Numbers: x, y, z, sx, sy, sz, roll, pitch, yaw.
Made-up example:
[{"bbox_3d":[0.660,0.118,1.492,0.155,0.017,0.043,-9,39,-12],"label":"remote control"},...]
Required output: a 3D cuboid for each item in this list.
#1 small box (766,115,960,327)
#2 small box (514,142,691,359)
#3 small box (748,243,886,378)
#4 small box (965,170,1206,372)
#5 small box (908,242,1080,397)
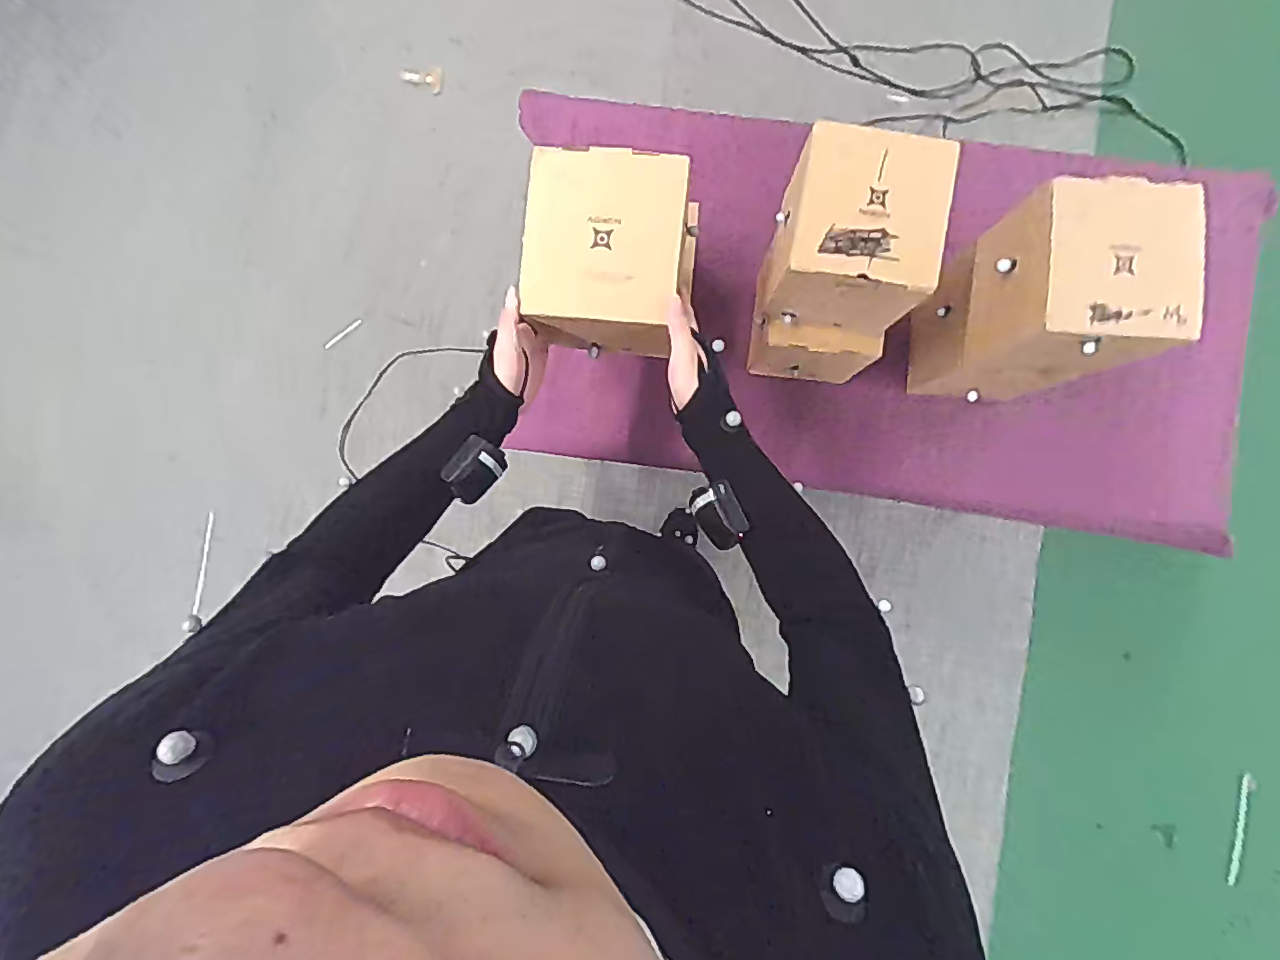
[{"bbox_3d":[0.263,-0.307,0.678,0.168,0.176,0.179,10,88,2],"label":"small box"},{"bbox_3d":[-0.035,-0.251,0.627,0.168,0.176,0.179,6,92,4],"label":"small box"},{"bbox_3d":[0.269,-0.269,0.841,0.168,0.176,0.179,6,89,2],"label":"small box"},{"bbox_3d":[0.528,-0.244,0.664,0.168,0.176,0.179,4,87,3],"label":"small box"},{"bbox_3d":[0.533,-0.236,0.828,0.168,0.176,0.179,4,88,2],"label":"small box"}]
